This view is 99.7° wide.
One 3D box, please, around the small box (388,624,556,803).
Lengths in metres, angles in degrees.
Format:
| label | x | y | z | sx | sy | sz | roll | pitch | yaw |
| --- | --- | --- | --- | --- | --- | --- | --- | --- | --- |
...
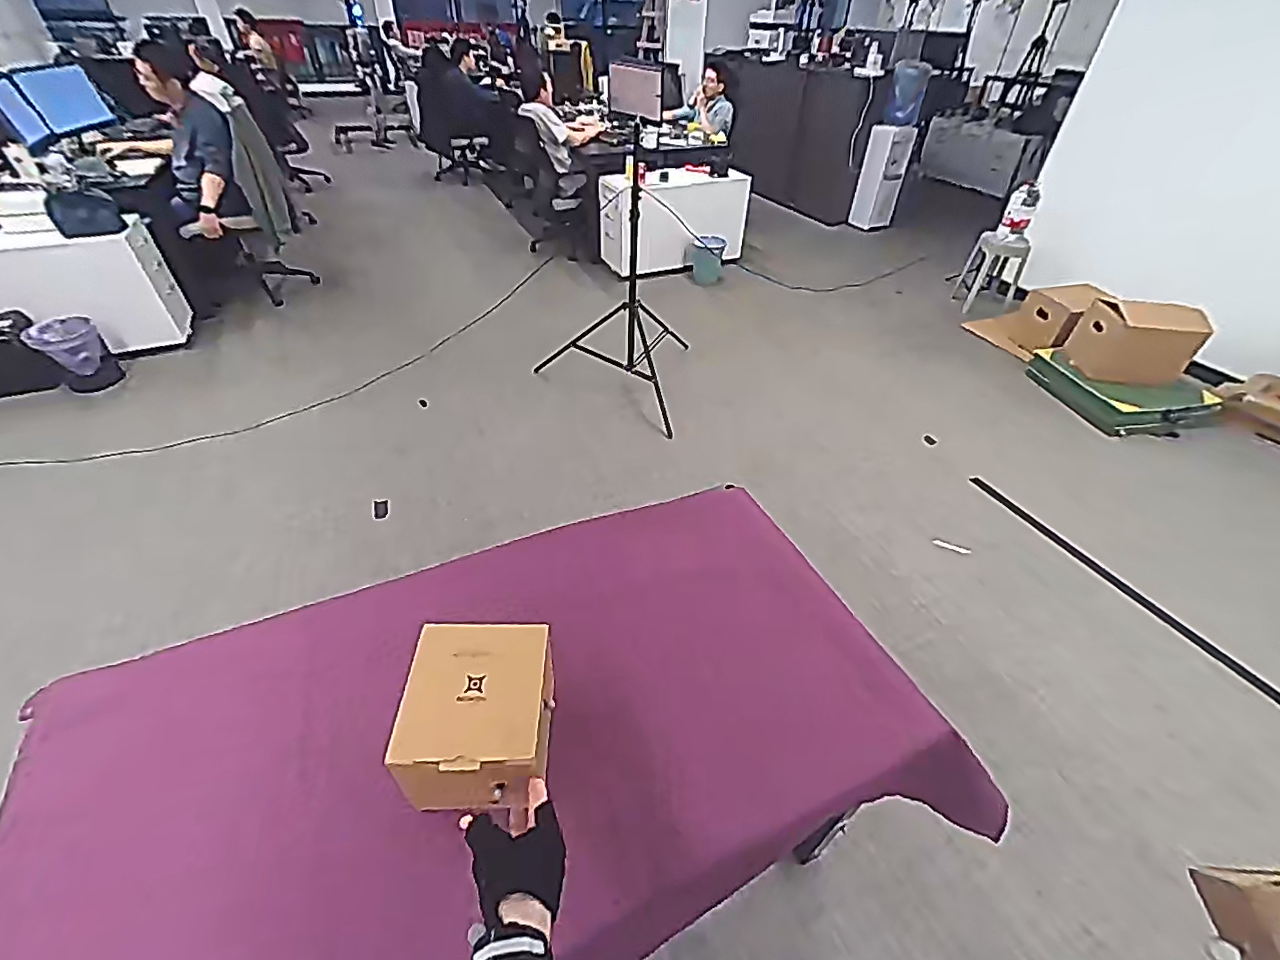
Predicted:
| label | x | y | z | sx | sy | sz | roll | pitch | yaw |
| --- | --- | --- | --- | --- | --- | --- | --- | --- | --- |
| small box | -0.204 | 0.313 | 0.720 | 0.168 | 0.176 | 0.179 | 1 | 43 | -2 |
